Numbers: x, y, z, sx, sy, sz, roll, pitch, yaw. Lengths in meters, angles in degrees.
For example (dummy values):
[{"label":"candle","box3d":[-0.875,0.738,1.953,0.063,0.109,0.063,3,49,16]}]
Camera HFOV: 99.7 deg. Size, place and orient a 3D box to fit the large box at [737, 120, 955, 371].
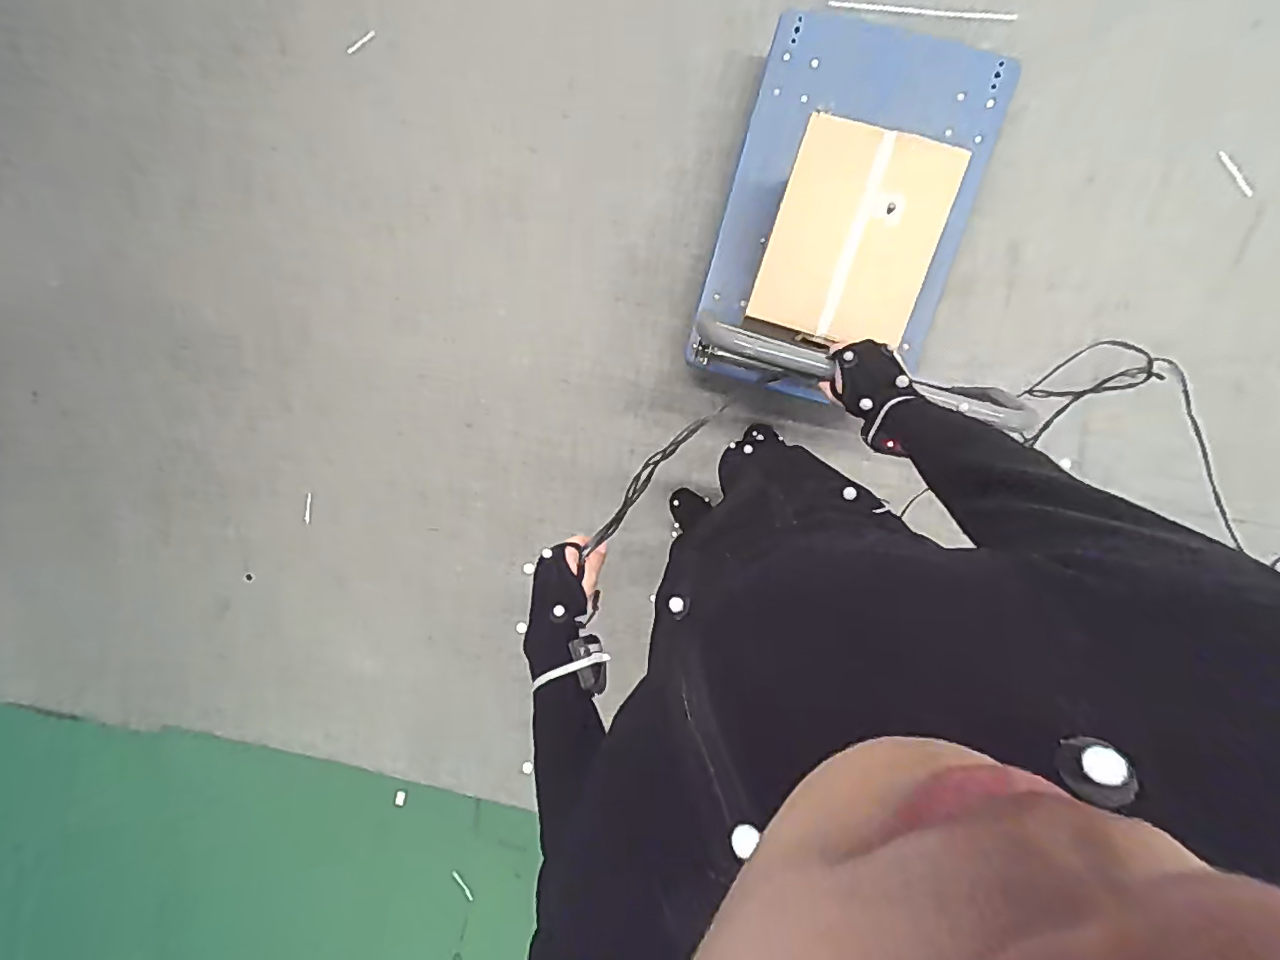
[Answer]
[{"label":"large box","box3d":[0.428,-0.492,1.224,0.320,0.320,0.408,18,97,4]}]
